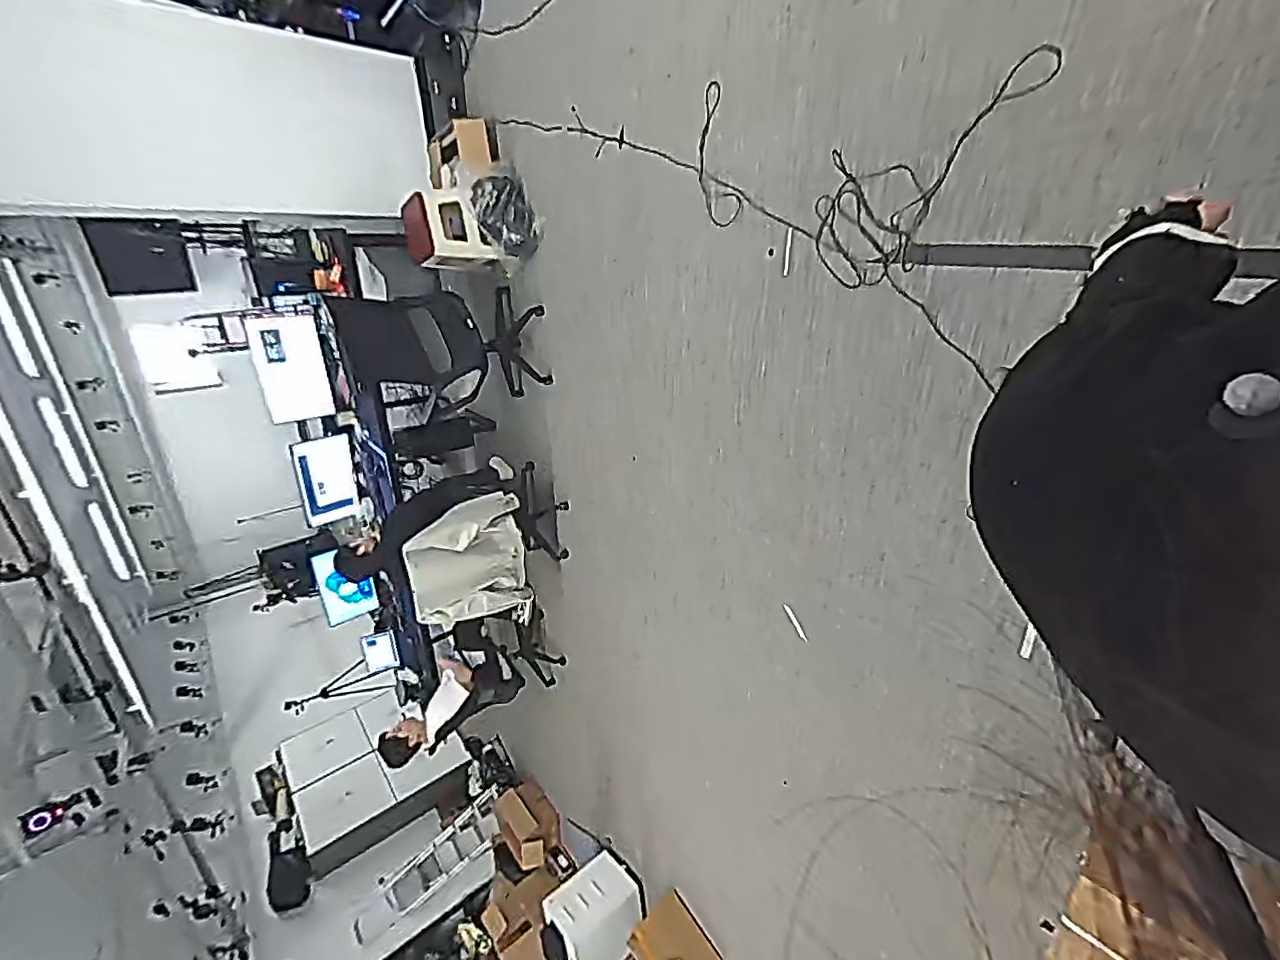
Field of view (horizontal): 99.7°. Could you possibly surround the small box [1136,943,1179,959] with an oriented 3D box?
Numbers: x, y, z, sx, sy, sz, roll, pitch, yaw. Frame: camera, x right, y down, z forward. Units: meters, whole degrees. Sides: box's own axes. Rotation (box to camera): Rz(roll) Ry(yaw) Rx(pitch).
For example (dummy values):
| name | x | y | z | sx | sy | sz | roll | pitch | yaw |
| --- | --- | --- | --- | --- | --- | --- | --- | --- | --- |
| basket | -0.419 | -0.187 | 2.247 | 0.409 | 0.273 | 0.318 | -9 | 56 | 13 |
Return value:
| name | x | y | z | sx | sy | sz | roll | pitch | yaw |
| --- | --- | --- | --- | --- | --- | --- | --- | --- | --- |
| small box | 1.056 | 1.083 | 1.058 | 0.168 | 0.176 | 0.179 | 21 | 121 | 46 |
